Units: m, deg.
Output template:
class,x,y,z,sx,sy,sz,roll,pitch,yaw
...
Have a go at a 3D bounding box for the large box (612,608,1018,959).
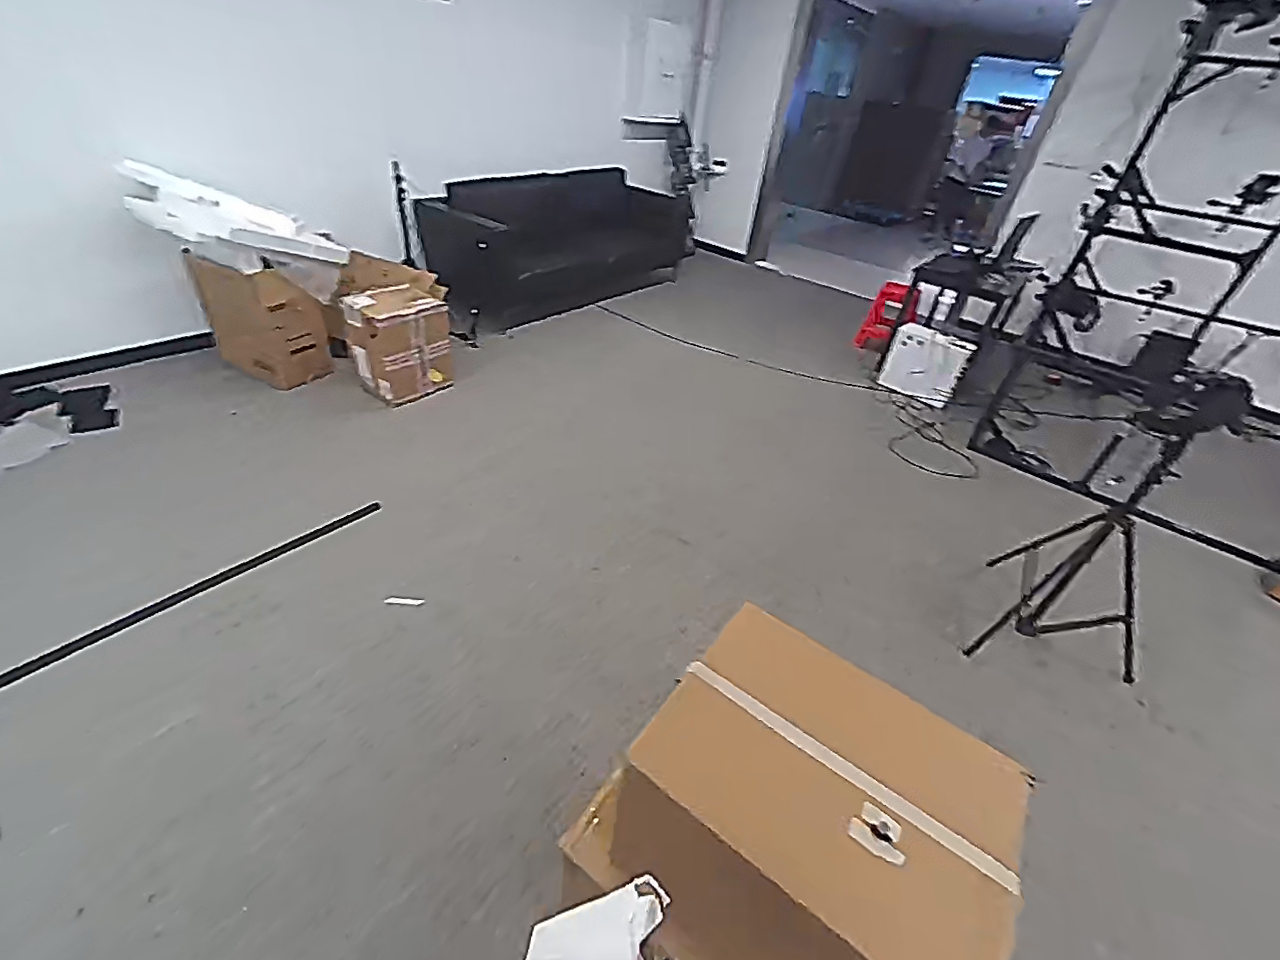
class,x,y,z,sx,sy,sz,roll,pitch,yaw
large box,0.218,0.464,0.755,0.408,0.320,0.320,29,42,25
